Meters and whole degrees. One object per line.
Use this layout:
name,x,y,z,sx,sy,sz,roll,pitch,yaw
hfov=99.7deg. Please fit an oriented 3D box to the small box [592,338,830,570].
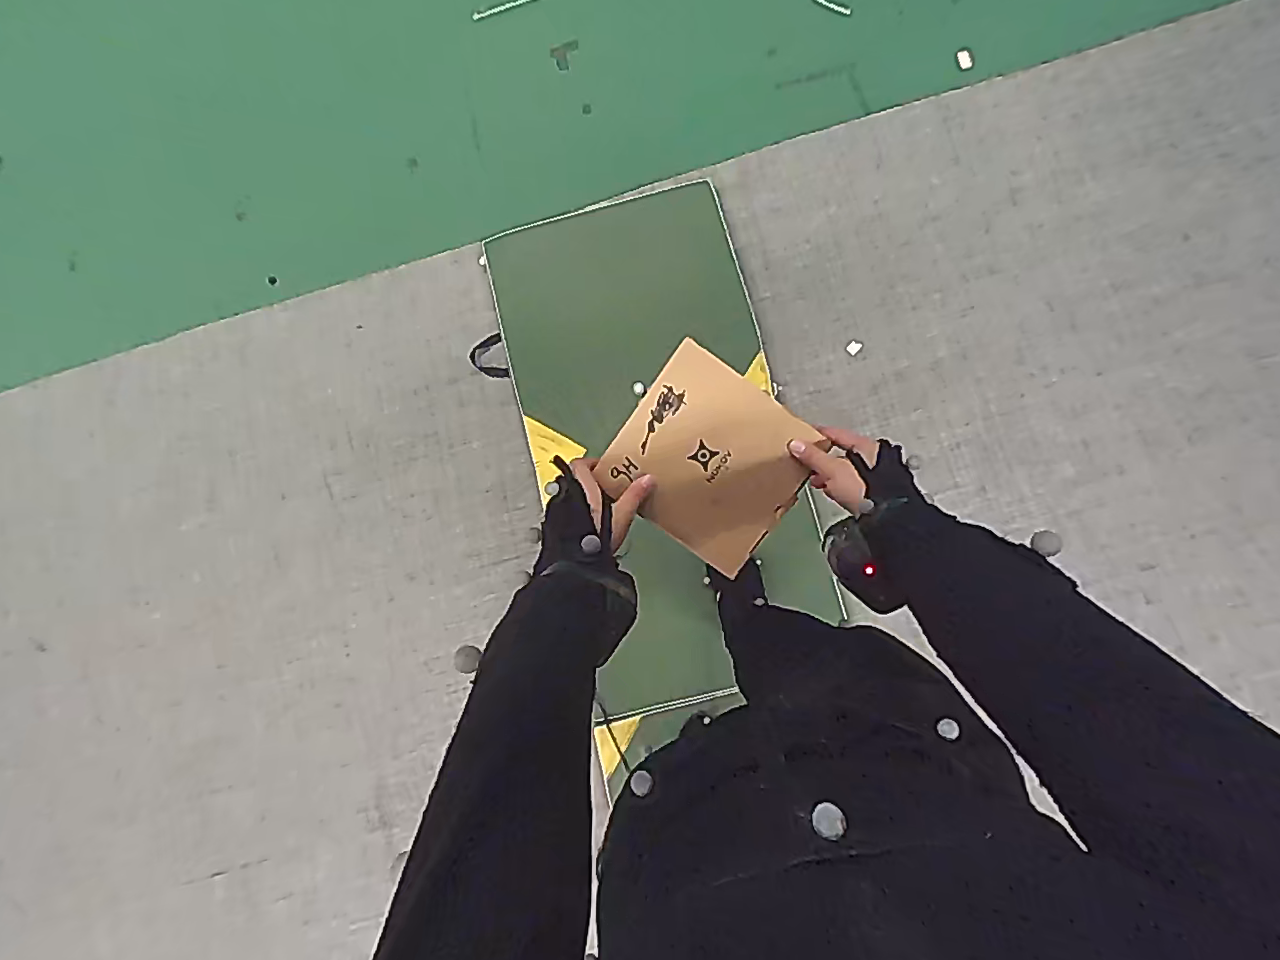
small box,0.069,-0.033,0.602,0.179,0.176,0.168,35,96,-4
